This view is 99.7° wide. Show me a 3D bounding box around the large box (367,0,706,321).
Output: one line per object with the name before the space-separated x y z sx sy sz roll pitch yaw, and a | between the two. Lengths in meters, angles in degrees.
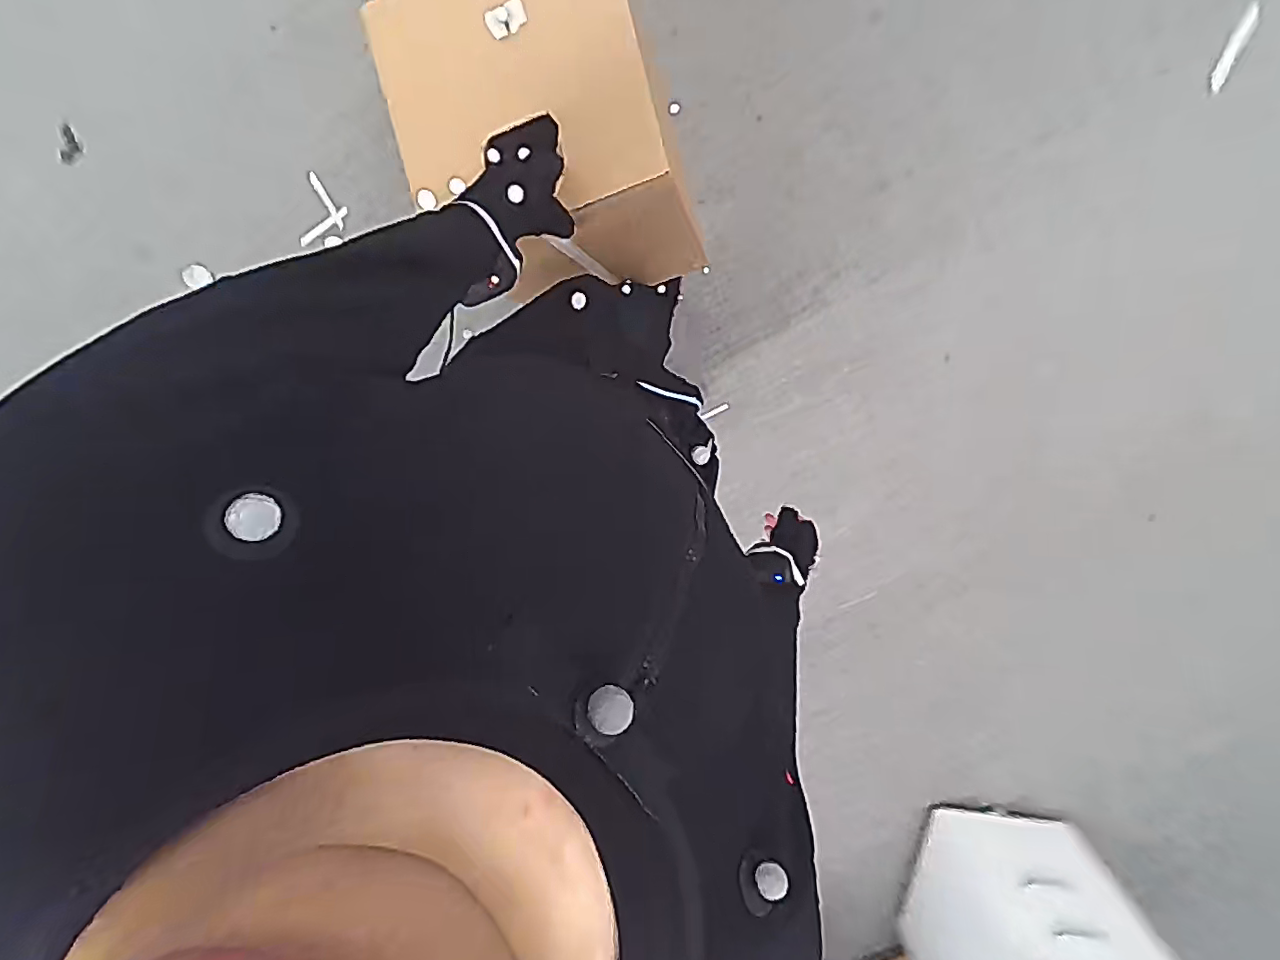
large box | -0.111 -0.464 0.820 0.320 0.408 0.320 -14 95 15
